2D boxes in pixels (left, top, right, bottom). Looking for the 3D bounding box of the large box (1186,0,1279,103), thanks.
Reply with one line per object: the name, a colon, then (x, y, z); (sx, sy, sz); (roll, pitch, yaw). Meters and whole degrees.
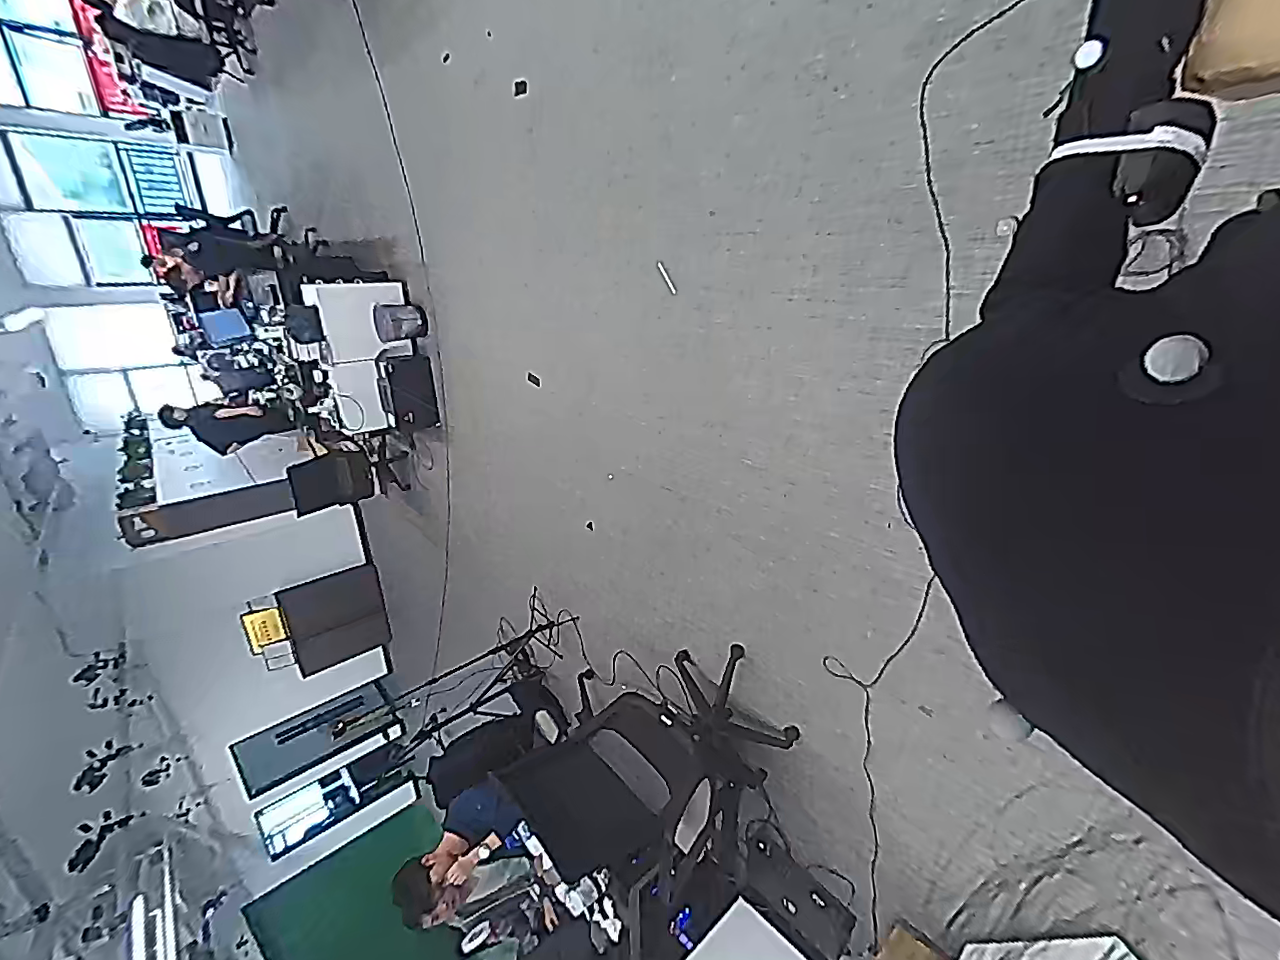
large box: (0.613, -0.443, 0.286); (0.408, 0.320, 0.320); (16, 125, 45)
